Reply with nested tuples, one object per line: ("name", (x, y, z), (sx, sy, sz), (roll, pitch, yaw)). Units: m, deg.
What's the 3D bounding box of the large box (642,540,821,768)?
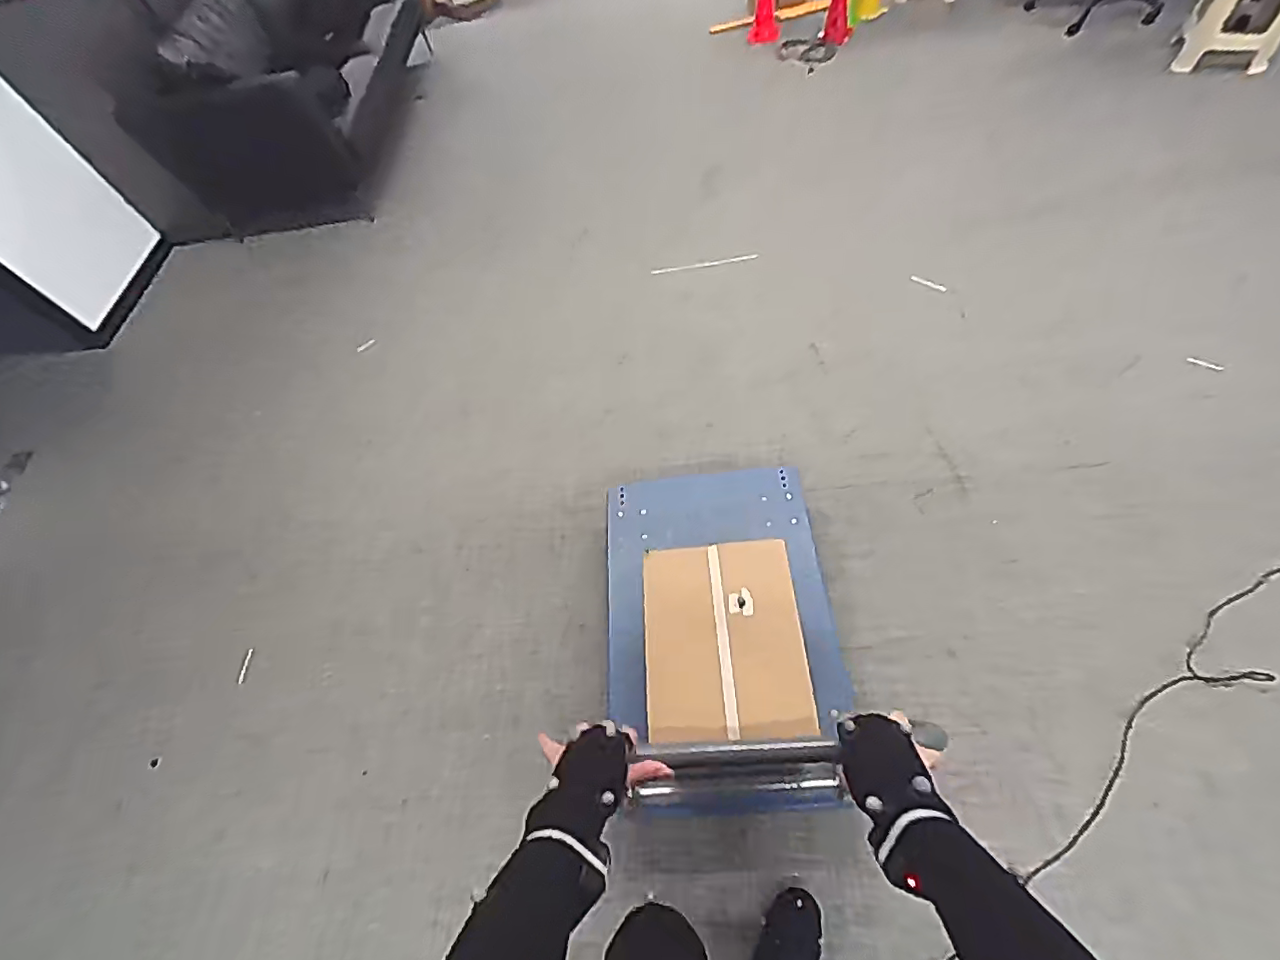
("large box", (0.188, 0.395, 1.204), (0.320, 0.320, 0.408), (-6, 57, 6))
